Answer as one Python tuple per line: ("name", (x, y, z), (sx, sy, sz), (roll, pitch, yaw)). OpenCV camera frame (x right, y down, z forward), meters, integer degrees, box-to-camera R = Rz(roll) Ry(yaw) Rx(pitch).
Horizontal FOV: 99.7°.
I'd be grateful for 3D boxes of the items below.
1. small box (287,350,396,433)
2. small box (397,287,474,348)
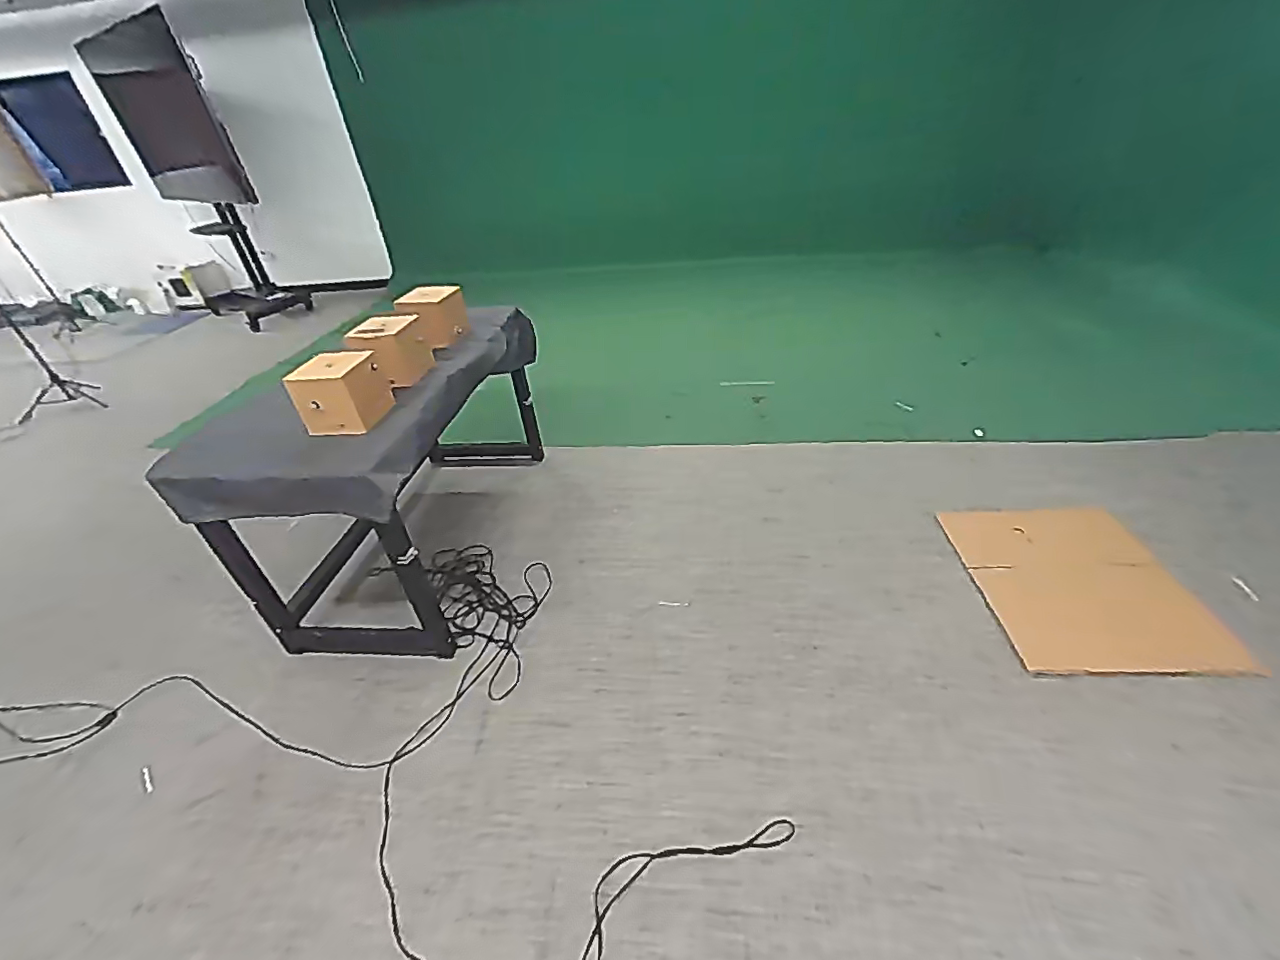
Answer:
("small box", (-0.795, -0.235, 1.464), (0.168, 0.176, 0.179), (-1, 35, 8))
("small box", (-0.727, -0.581, 1.940), (0.179, 0.176, 0.168), (4, 38, 12))
